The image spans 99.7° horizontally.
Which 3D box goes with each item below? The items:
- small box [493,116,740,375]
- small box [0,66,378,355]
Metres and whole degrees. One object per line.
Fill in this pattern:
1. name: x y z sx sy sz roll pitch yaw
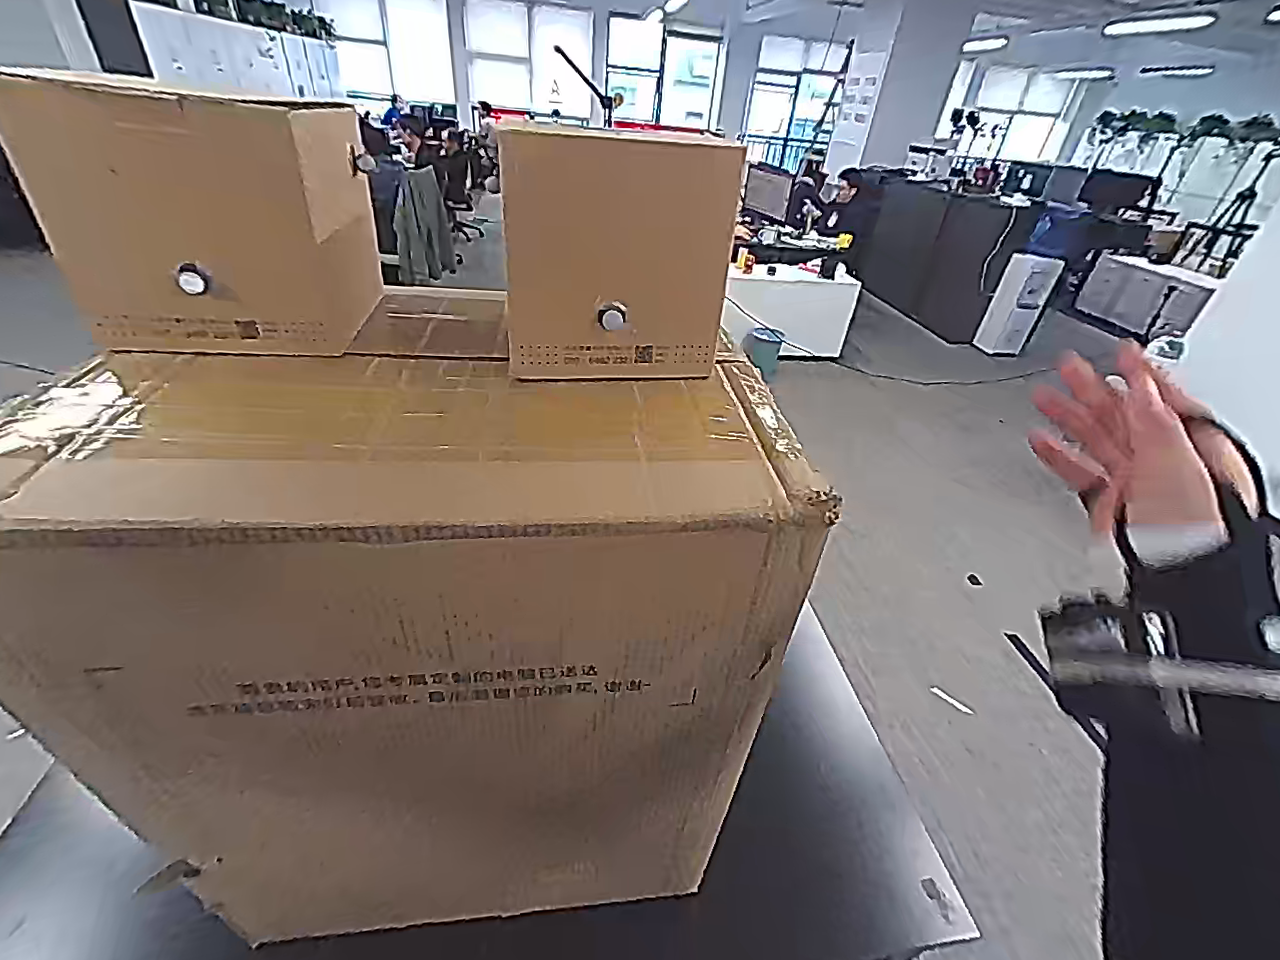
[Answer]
1. small box: -0.032 -0.200 0.460 0.168 0.176 0.179 -3 35 -11
2. small box: -0.325 -0.213 0.438 0.168 0.176 0.179 -2 34 -11
